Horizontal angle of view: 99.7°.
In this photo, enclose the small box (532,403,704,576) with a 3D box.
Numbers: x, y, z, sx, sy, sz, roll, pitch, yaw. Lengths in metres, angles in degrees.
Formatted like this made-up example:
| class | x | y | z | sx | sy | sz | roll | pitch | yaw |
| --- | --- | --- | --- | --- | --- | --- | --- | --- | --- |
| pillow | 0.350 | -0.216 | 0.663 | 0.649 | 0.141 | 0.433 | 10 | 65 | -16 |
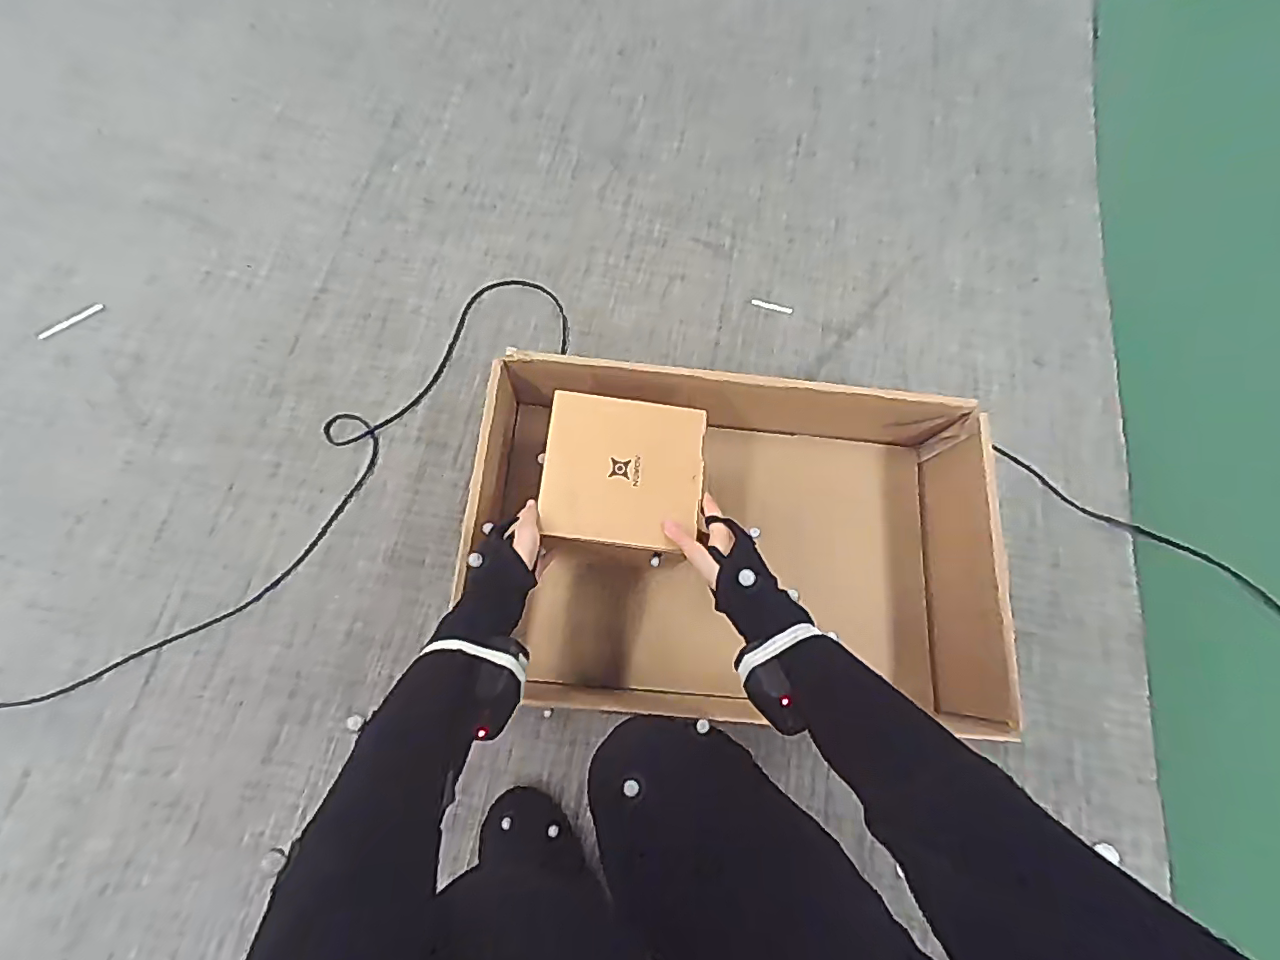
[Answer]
| class | x | y | z | sx | sy | sz | roll | pitch | yaw |
| --- | --- | --- | --- | --- | --- | --- | --- | --- | --- |
| small box | -0.028 | 0.022 | 0.666 | 0.179 | 0.176 | 0.168 | 7 | 74 | -5 |
